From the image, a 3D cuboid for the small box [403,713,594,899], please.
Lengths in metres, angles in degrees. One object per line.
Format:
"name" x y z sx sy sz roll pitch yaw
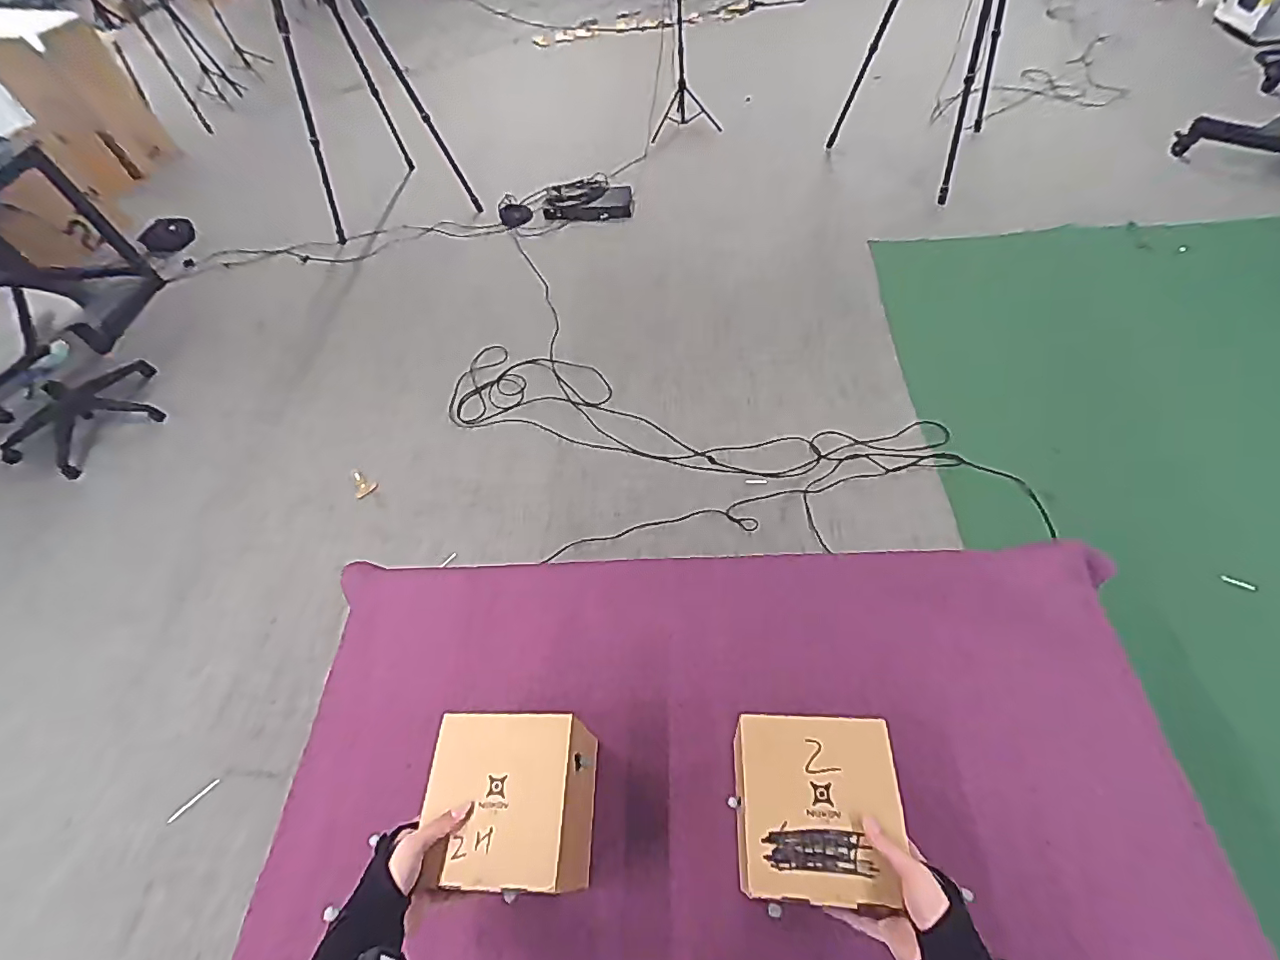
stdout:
"small box" -0.156 0.400 0.668 0.168 0.176 0.179 -3 55 7
